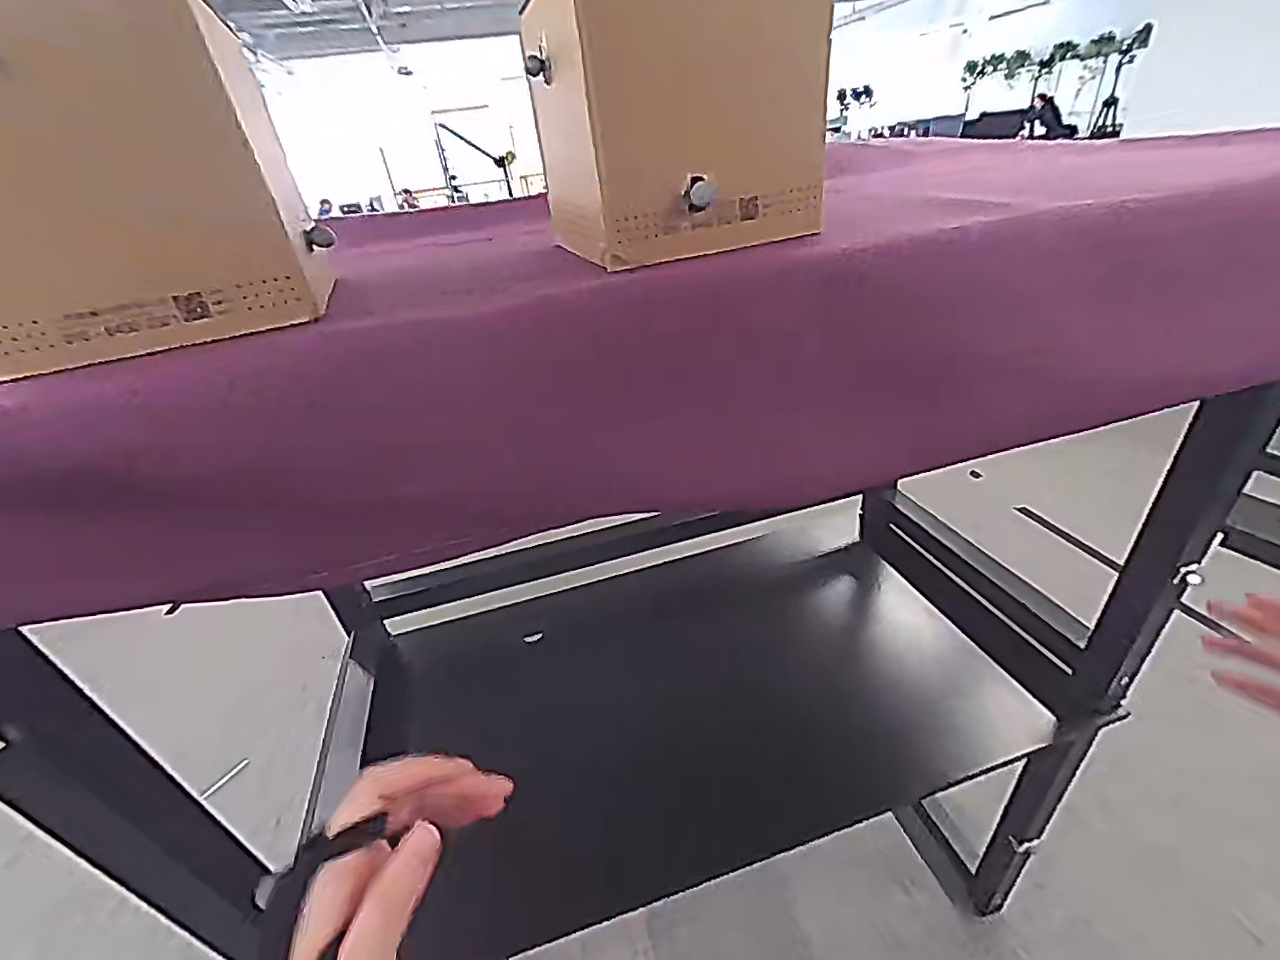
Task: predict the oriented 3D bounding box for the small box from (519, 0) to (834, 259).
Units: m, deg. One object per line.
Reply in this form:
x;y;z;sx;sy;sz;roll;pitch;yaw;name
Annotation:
0.018;-0.271;0.401;0.168;0.176;0.179;-17;33;-13;small box

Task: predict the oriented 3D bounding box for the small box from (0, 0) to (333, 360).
-0.311;-0.186;0.335;0.168;0.176;0.179;-19;33;-17;small box
